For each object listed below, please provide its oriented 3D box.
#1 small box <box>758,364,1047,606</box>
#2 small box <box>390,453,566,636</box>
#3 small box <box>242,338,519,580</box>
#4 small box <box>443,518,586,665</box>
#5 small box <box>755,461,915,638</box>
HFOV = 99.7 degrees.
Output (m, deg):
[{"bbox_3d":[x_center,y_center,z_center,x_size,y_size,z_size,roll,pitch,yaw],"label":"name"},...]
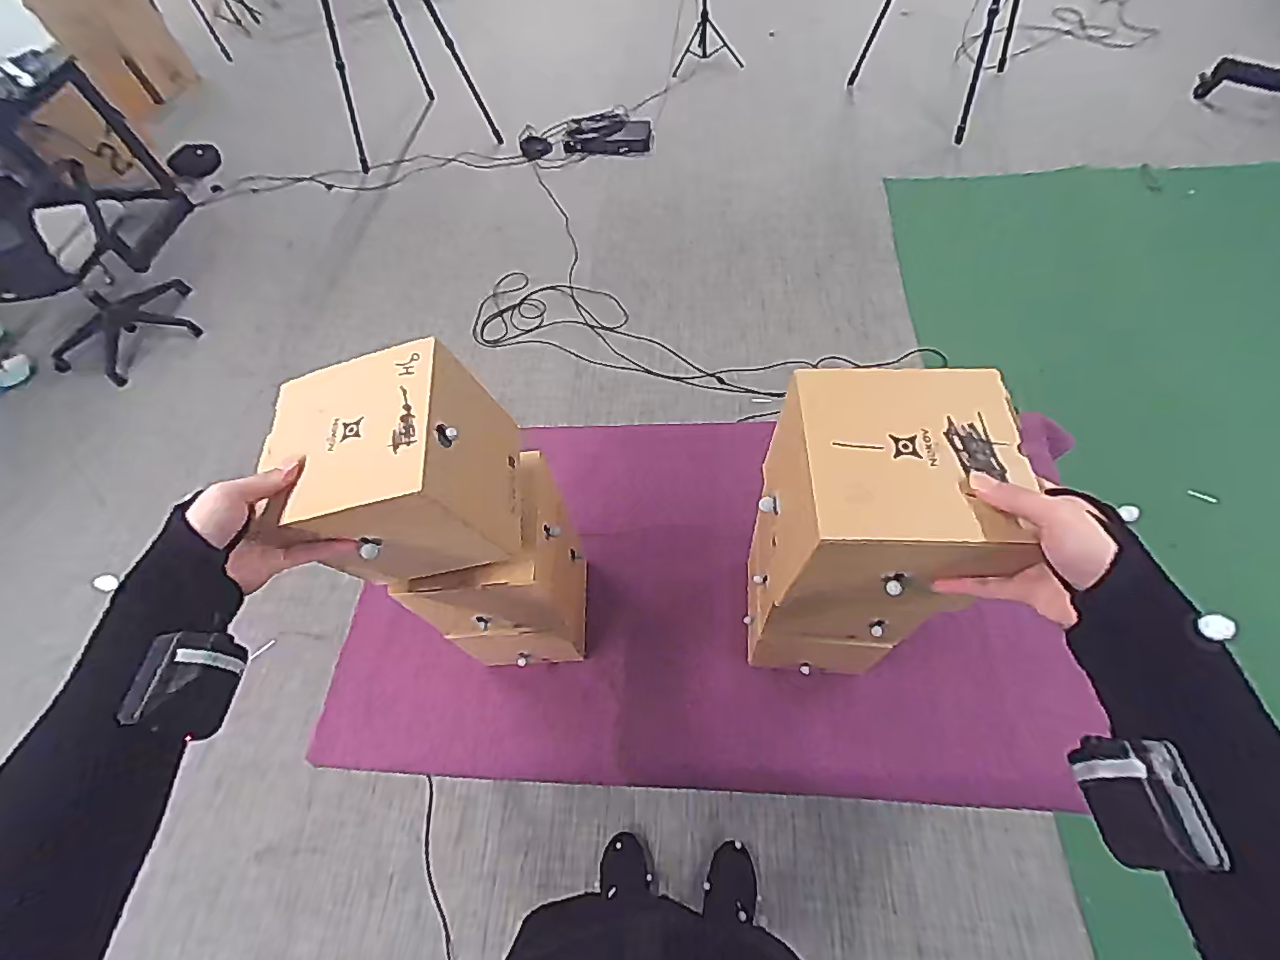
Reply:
[{"bbox_3d":[0.213,0.012,0.499,0.179,0.176,0.168,0,59,4],"label":"small box"},{"bbox_3d":[-0.194,0.088,0.704,0.168,0.176,0.179,-6,58,3],"label":"small box"},{"bbox_3d":[-0.244,-0.008,0.552,0.179,0.176,0.168,-14,60,12],"label":"small box"},{"bbox_3d":[-0.181,0.177,0.839,0.168,0.176,0.179,-4,58,5],"label":"small box"},{"bbox_3d":[0.230,0.083,0.653,0.168,0.176,0.179,1,59,8],"label":"small box"}]
